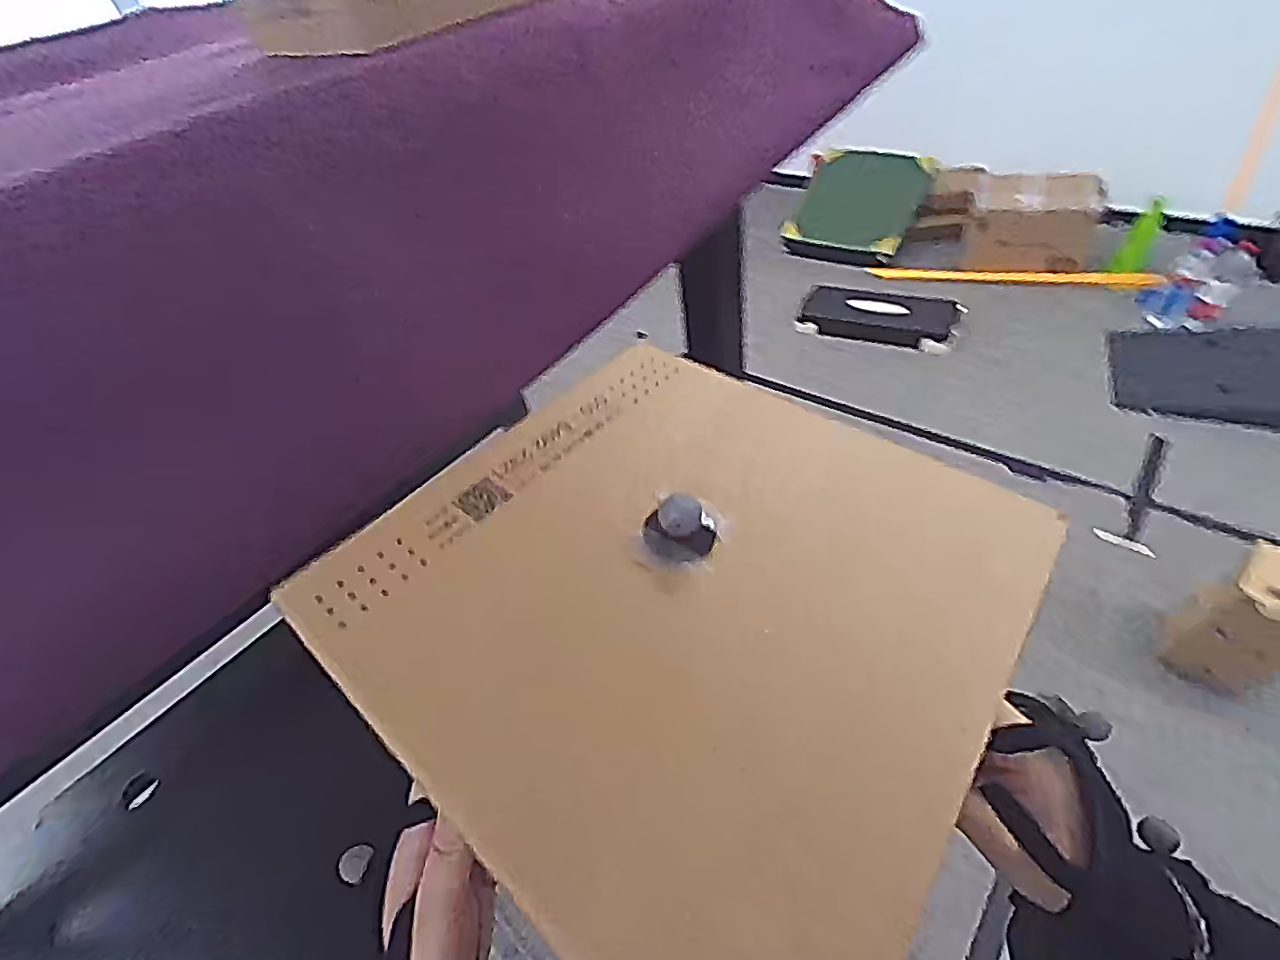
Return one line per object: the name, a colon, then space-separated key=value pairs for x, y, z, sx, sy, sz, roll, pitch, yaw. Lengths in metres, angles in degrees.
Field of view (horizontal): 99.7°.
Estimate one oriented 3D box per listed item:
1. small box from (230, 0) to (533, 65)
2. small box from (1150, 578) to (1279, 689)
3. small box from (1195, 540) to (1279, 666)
small box: x=-0.154 y=-0.350 z=0.289 sx=0.168 sy=0.176 sz=0.179 roll=28 pitch=60 yaw=33
small box: x=1.407 y=0.379 z=1.312 sx=0.179 sy=0.176 sz=0.168 roll=29 pitch=59 yaw=31
small box: x=1.383 y=0.274 z=1.187 sx=0.179 sy=0.176 sz=0.168 roll=-39 pitch=53 yaw=-24
